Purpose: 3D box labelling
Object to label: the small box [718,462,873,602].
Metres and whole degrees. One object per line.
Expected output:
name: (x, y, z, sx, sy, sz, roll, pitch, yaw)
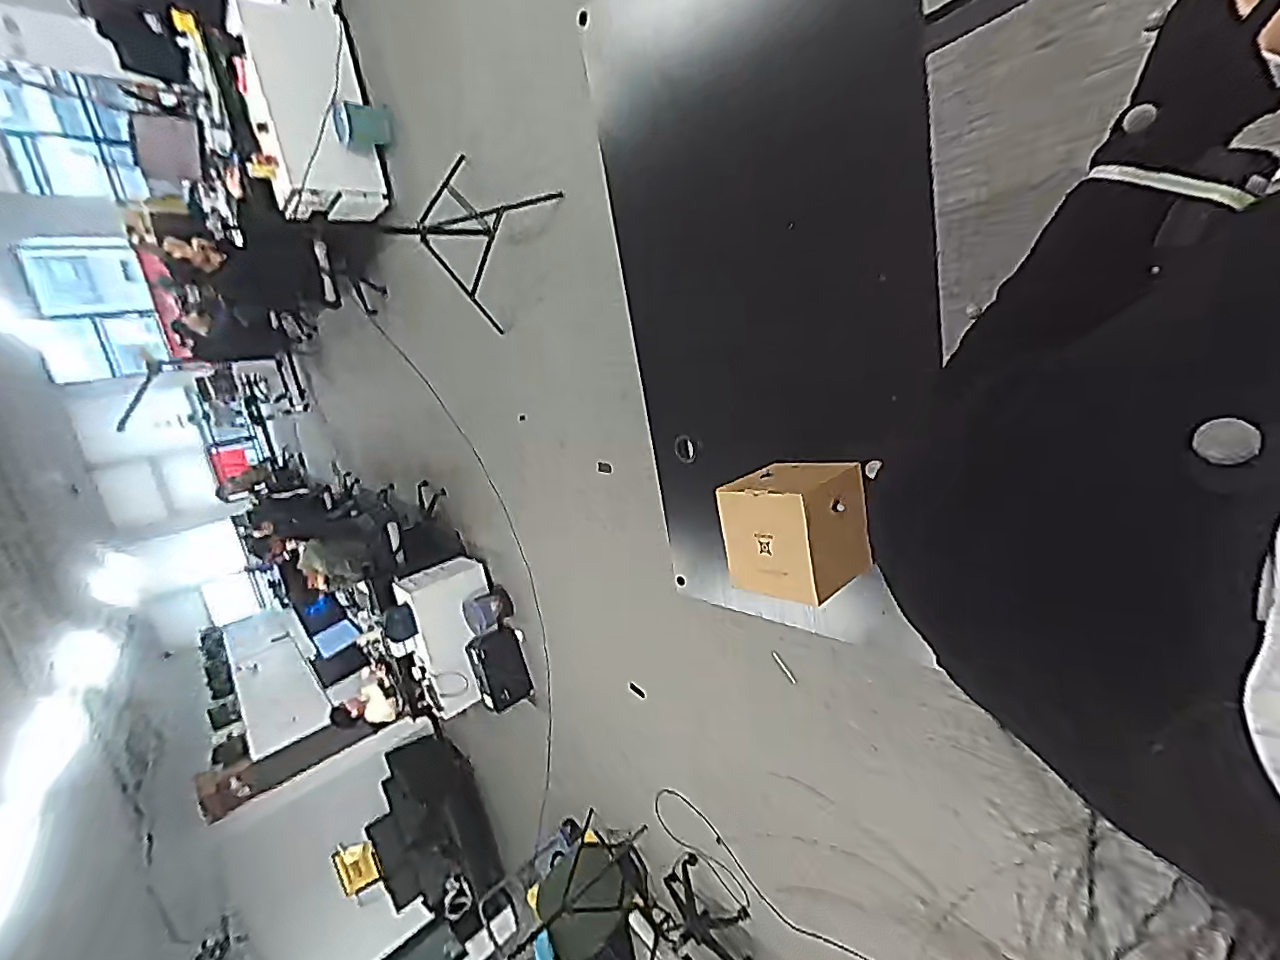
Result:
small box: (0.256, 0.071, 0.879, 0.168, 0.176, 0.179, 2, 108, 52)
